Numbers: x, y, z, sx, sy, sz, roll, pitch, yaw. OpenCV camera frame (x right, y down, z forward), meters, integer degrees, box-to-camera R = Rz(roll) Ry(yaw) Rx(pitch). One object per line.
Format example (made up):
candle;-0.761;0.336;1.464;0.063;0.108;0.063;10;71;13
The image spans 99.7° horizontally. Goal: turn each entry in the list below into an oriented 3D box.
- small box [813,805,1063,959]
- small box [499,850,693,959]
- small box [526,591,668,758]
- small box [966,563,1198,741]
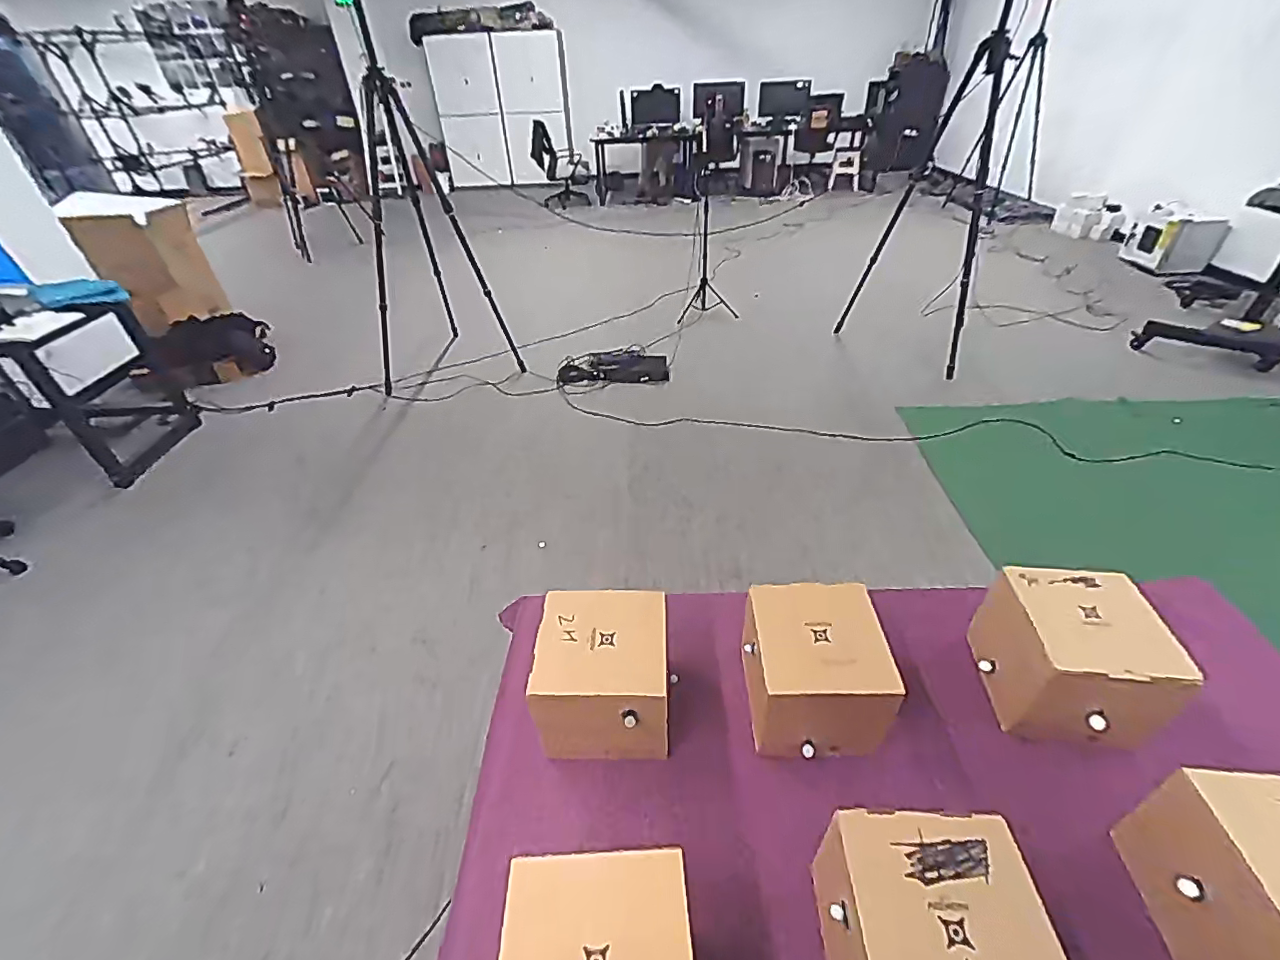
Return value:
small box;0.275;0.447;0.523;0.168;0.176;0.179;-1;38;4
small box;-0.037;0.474;0.490;0.168;0.176;0.179;-3;32;-2
small box;-0.048;0.277;0.773;0.179;0.176;0.168;-1;38;3
small box;0.595;0.242;0.761;0.168;0.176;0.179;3;39;8
